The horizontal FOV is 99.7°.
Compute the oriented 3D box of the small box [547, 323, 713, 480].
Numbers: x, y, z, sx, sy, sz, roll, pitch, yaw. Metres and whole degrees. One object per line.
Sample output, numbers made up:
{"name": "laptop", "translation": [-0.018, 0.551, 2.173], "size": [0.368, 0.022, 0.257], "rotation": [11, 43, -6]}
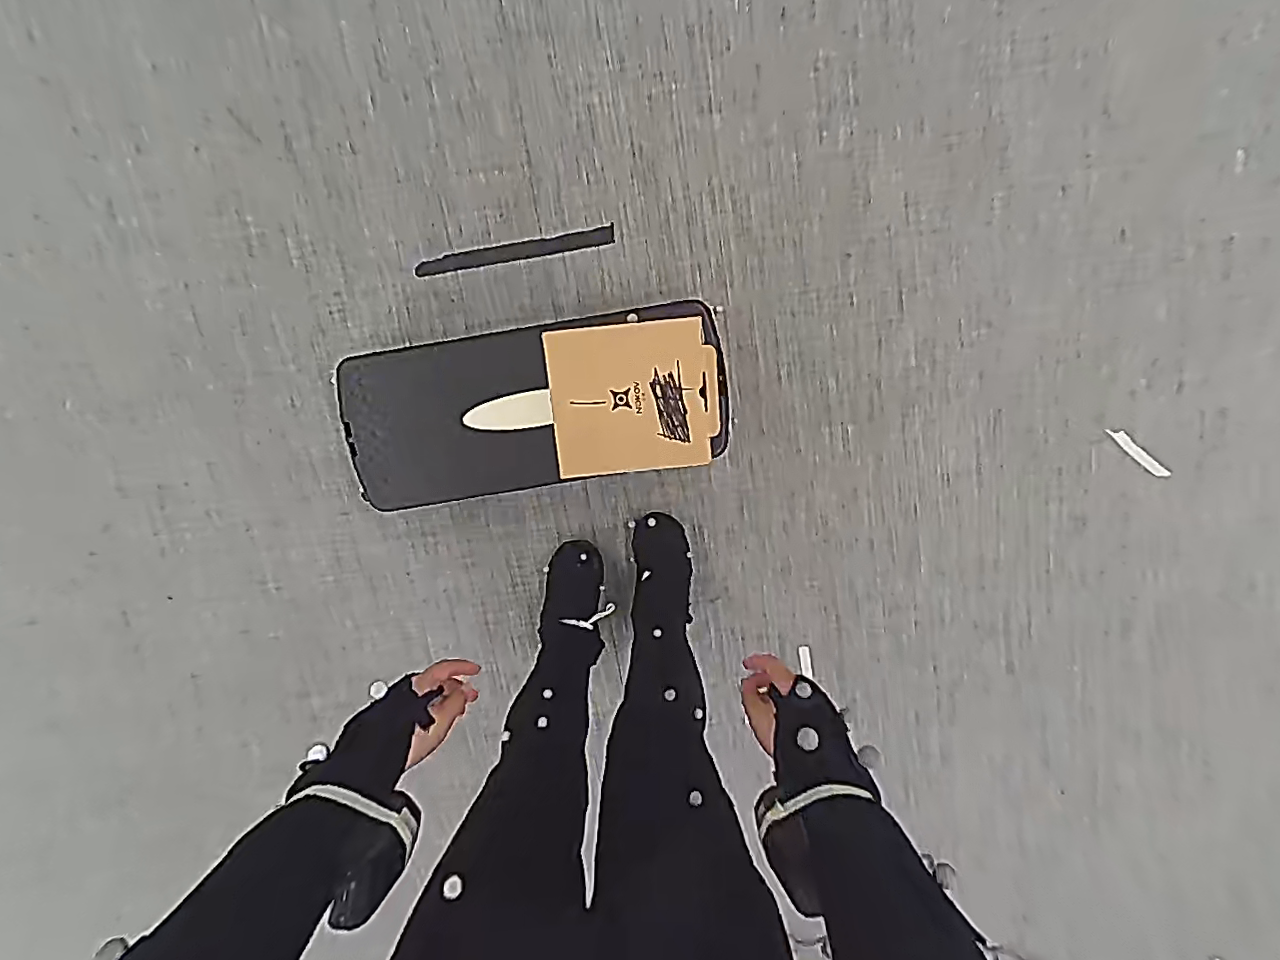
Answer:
{"name": "small box", "translation": [-0.011, -0.101, 0.679], "size": [0.179, 0.176, 0.168], "rotation": [-5, 100, 0]}
